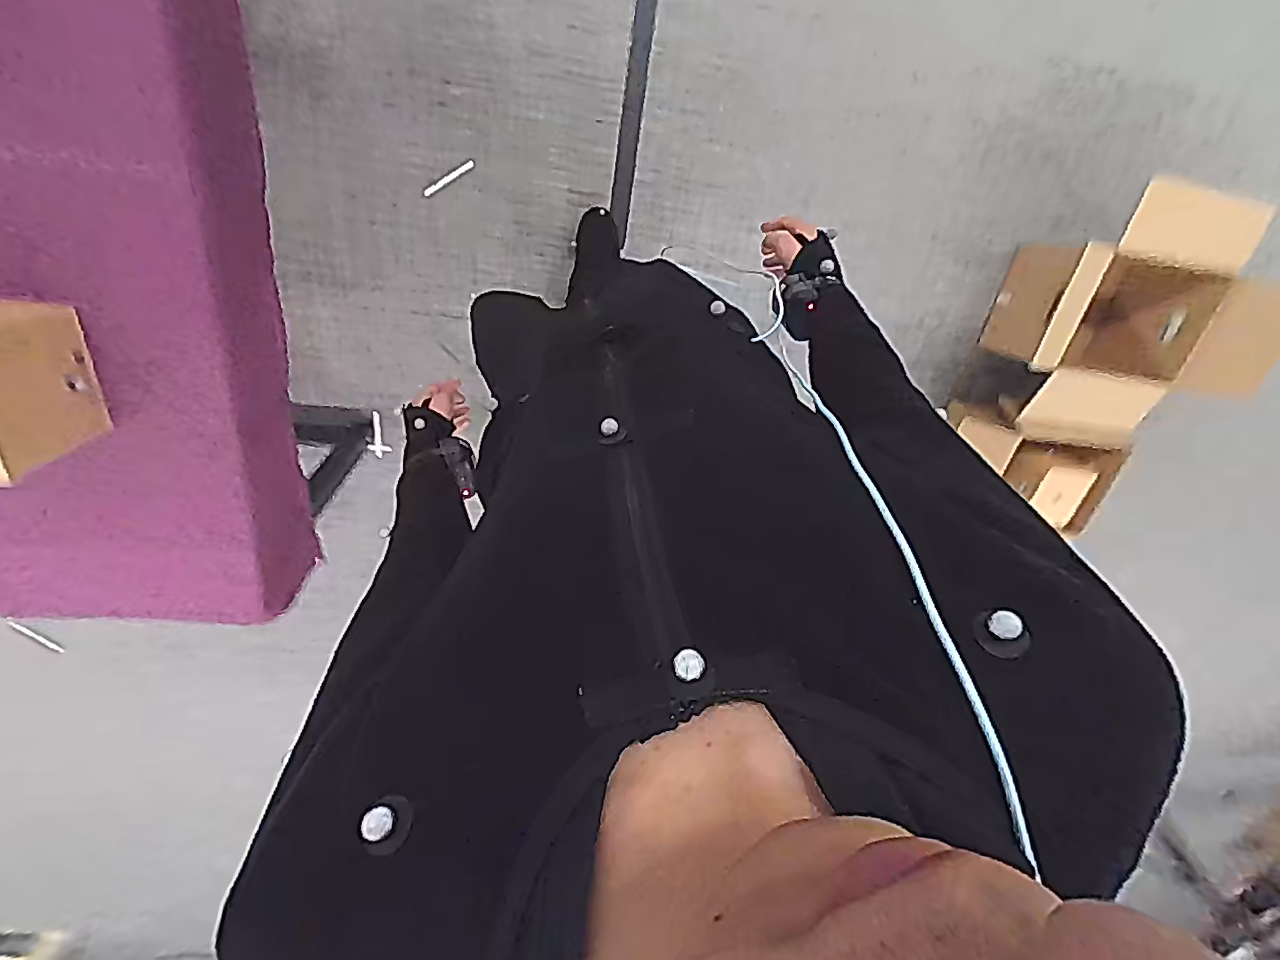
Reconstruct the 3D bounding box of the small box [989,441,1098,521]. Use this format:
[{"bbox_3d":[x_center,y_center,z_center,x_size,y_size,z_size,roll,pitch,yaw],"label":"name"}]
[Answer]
[{"bbox_3d":[1.207,0.002,1.636,0.168,0.176,0.179,6,116,-10],"label":"small box"}]
